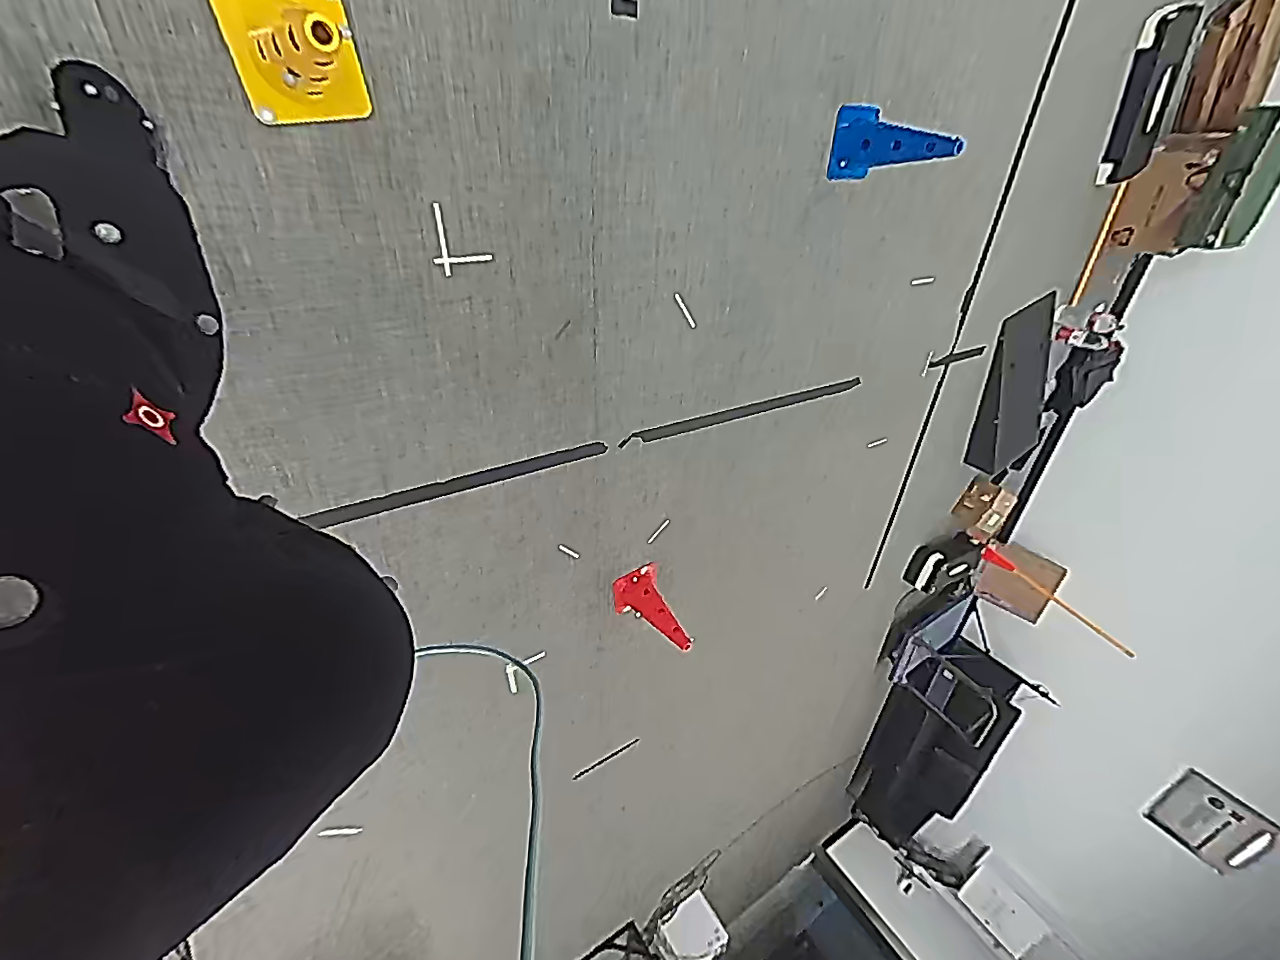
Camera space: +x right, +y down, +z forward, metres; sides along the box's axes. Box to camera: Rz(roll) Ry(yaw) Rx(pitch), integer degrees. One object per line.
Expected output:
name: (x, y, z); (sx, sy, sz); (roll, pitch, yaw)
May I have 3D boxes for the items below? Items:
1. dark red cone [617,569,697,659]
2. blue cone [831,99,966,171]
dark red cone: (0.086, 0.535, 2.066); (0.202, 0.394, 0.201); (-24, 130, -24)
blue cone: (0.770, -1.019, 1.601); (0.193, 0.380, 0.192); (-17, 126, -29)
